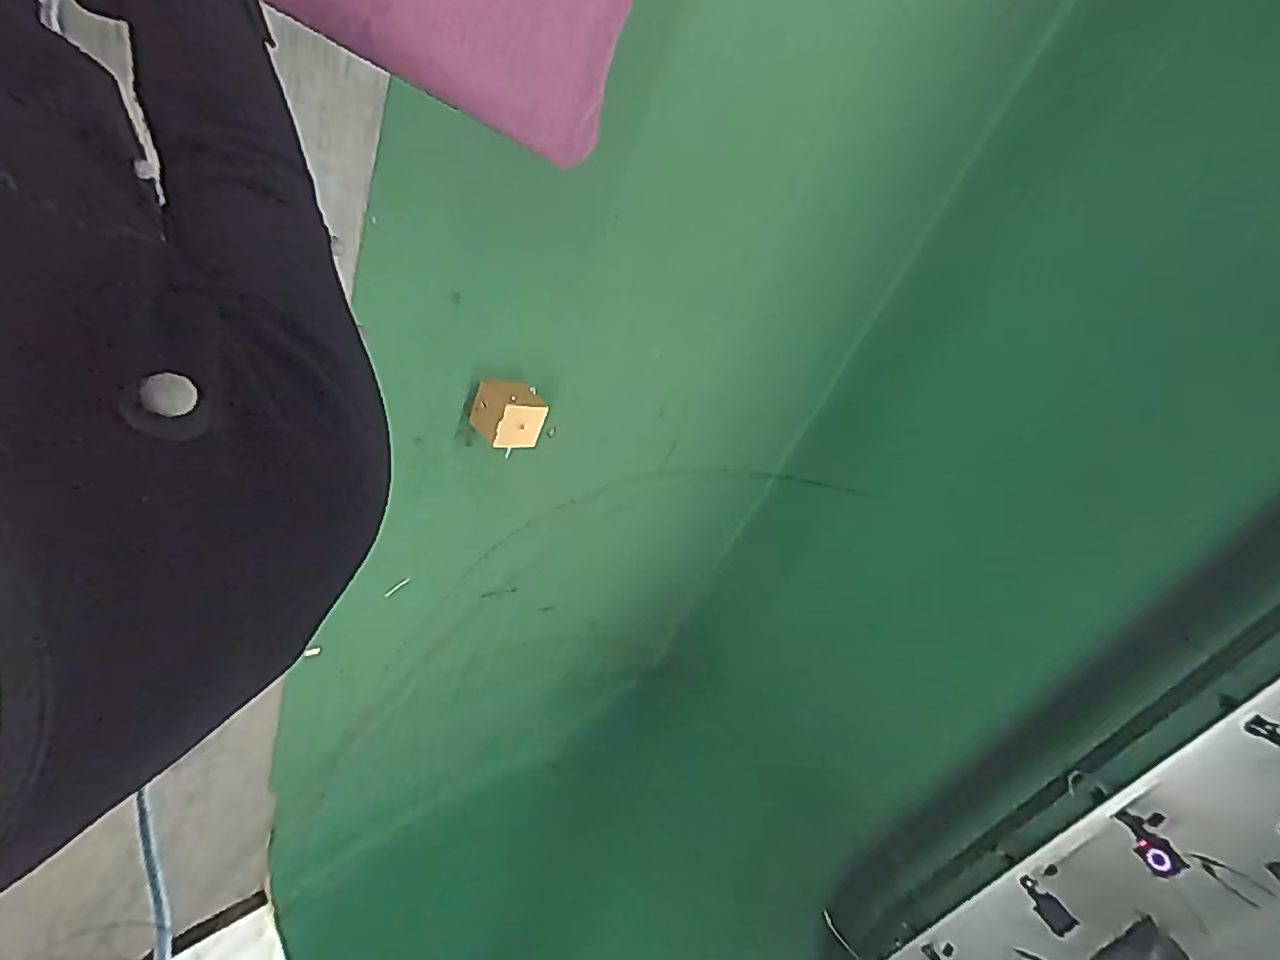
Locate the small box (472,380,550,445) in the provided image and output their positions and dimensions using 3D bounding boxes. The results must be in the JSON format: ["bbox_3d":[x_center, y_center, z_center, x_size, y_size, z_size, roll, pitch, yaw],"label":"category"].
[{"bbox_3d":[-0.449,-0.234,1.872,0.179,0.176,0.168,-5,129,-48],"label":"small box"}]
